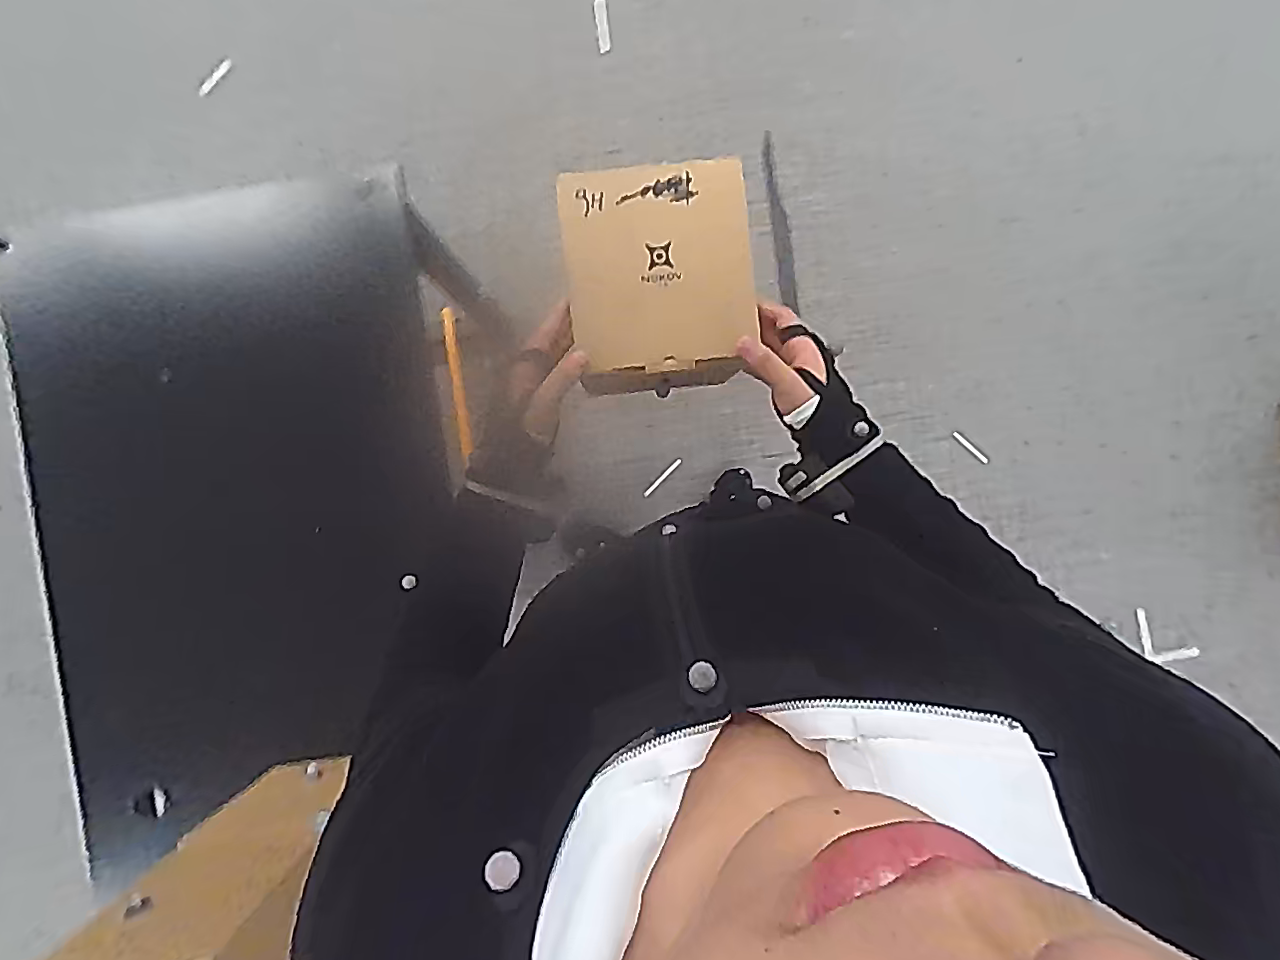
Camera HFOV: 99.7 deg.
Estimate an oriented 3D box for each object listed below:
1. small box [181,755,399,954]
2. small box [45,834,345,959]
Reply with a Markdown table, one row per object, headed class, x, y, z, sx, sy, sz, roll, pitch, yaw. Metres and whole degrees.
| class | x | y | z | sx | sy | sz | roll | pitch | yaw |
| --- | --- | --- | --- | --- | --- | --- | --- | --- | --- |
| small box | -0.432 | 0.489 | 0.695 | 0.168 | 0.176 | 0.179 | -8 | 89 | 0 |
| small box | -0.430 | 0.491 | 0.533 | 0.179 | 0.176 | 0.168 | -9 | 91 | -1 |
